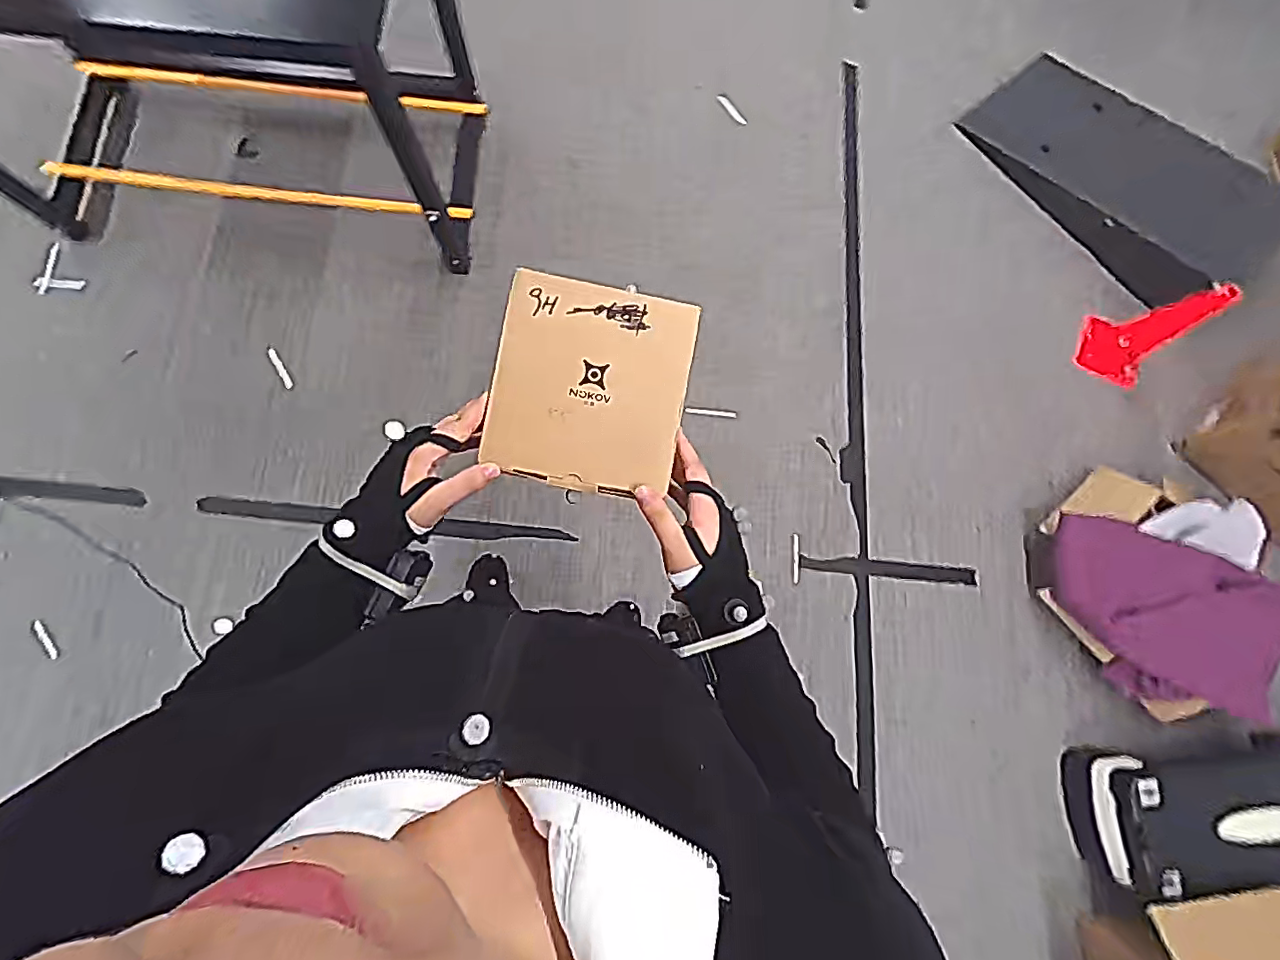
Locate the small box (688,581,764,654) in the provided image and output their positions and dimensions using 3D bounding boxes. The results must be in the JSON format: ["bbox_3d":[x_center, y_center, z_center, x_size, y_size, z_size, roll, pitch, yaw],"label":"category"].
[{"bbox_3d":[0.223,0.358,1.431,0.168,0.176,0.179,-1,79,-4],"label":"small box"}]

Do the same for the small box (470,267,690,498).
[{"bbox_3d":[-0.055,-0.082,0.544,0.168,0.176,0.179,10,88,-4],"label":"small box"}]
